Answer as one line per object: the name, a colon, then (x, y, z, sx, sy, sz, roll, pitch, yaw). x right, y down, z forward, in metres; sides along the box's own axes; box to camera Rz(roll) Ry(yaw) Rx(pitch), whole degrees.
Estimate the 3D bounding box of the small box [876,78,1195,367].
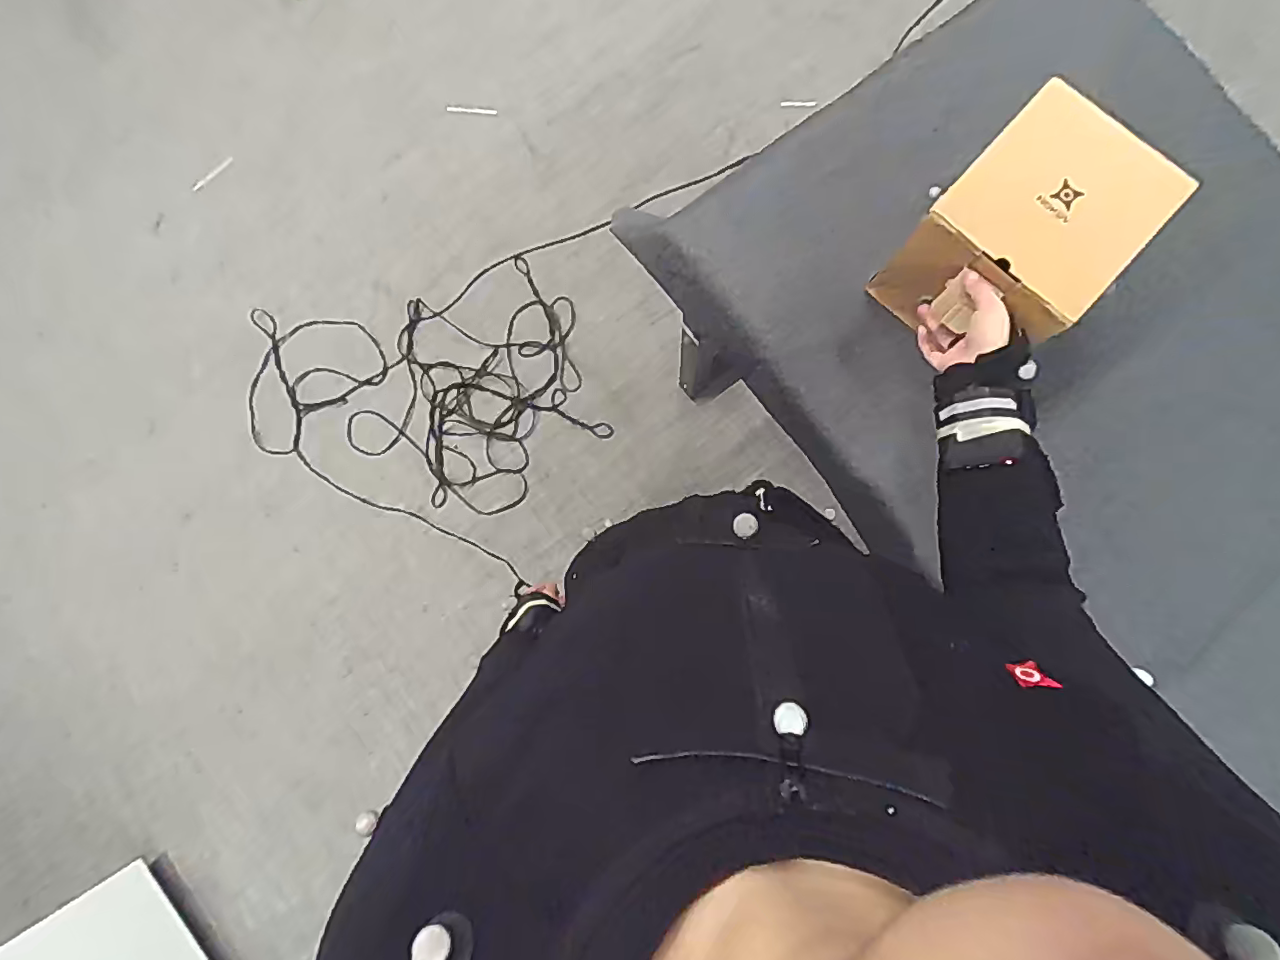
small box: (0.389, -0.251, 0.571, 0.168, 0.176, 0.179, 42, 89, 4)
